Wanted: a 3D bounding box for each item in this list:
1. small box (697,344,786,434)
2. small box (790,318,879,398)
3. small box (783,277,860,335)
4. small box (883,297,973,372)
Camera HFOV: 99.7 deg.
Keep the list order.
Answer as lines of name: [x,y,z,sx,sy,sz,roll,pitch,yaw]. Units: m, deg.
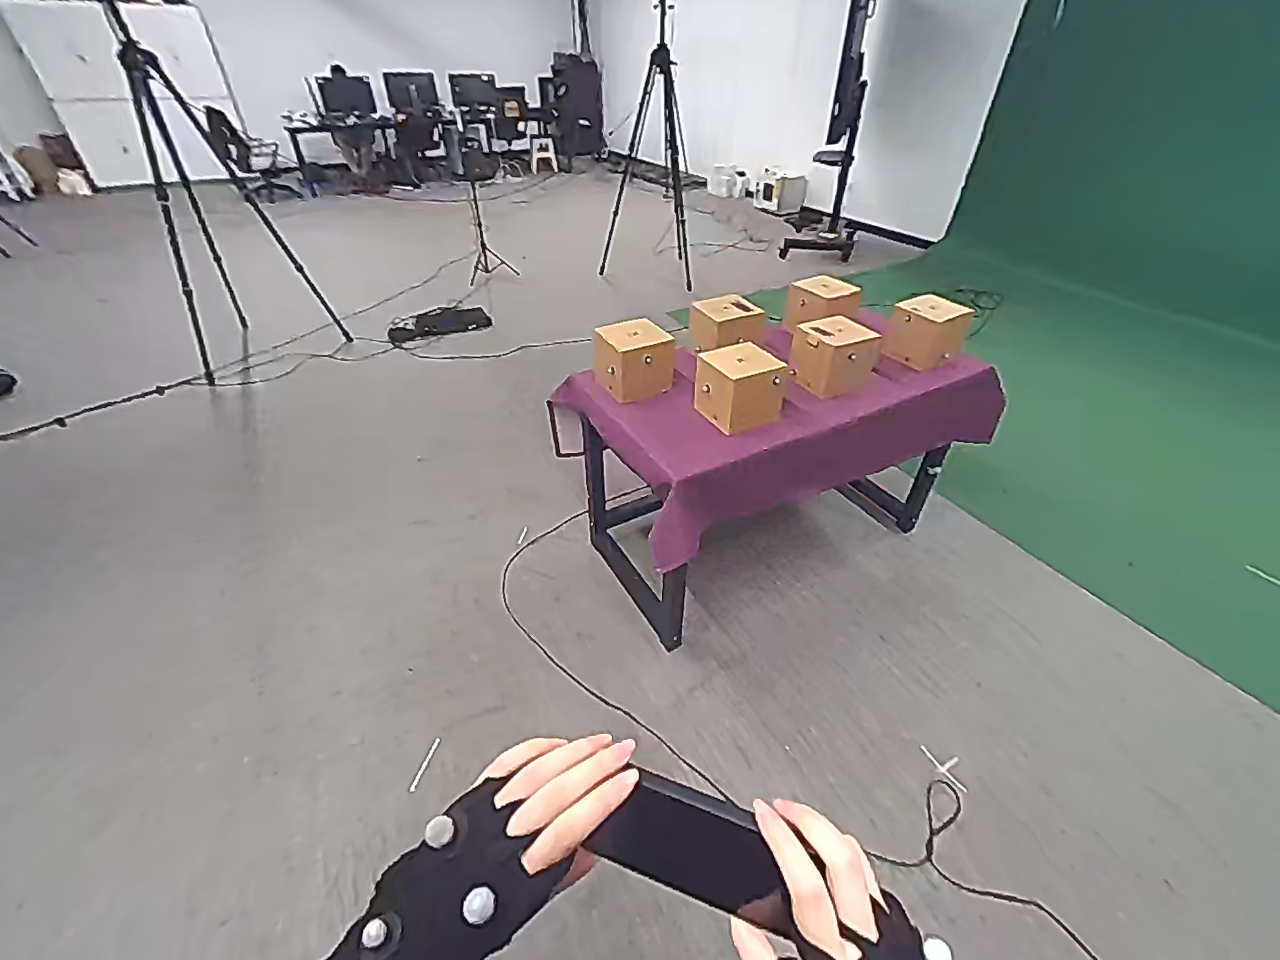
small box: [0.264,-0.244,1.453,0.179,0.176,0.168,-17,42,-22]
small box: [0.564,-0.360,1.599,0.179,0.176,0.168,-16,42,-21]
small box: [0.624,-0.587,1.879,0.168,0.176,0.179,-22,44,-24]
small box: [0.914,-0.468,1.734,0.179,0.176,0.168,-20,43,-24]
